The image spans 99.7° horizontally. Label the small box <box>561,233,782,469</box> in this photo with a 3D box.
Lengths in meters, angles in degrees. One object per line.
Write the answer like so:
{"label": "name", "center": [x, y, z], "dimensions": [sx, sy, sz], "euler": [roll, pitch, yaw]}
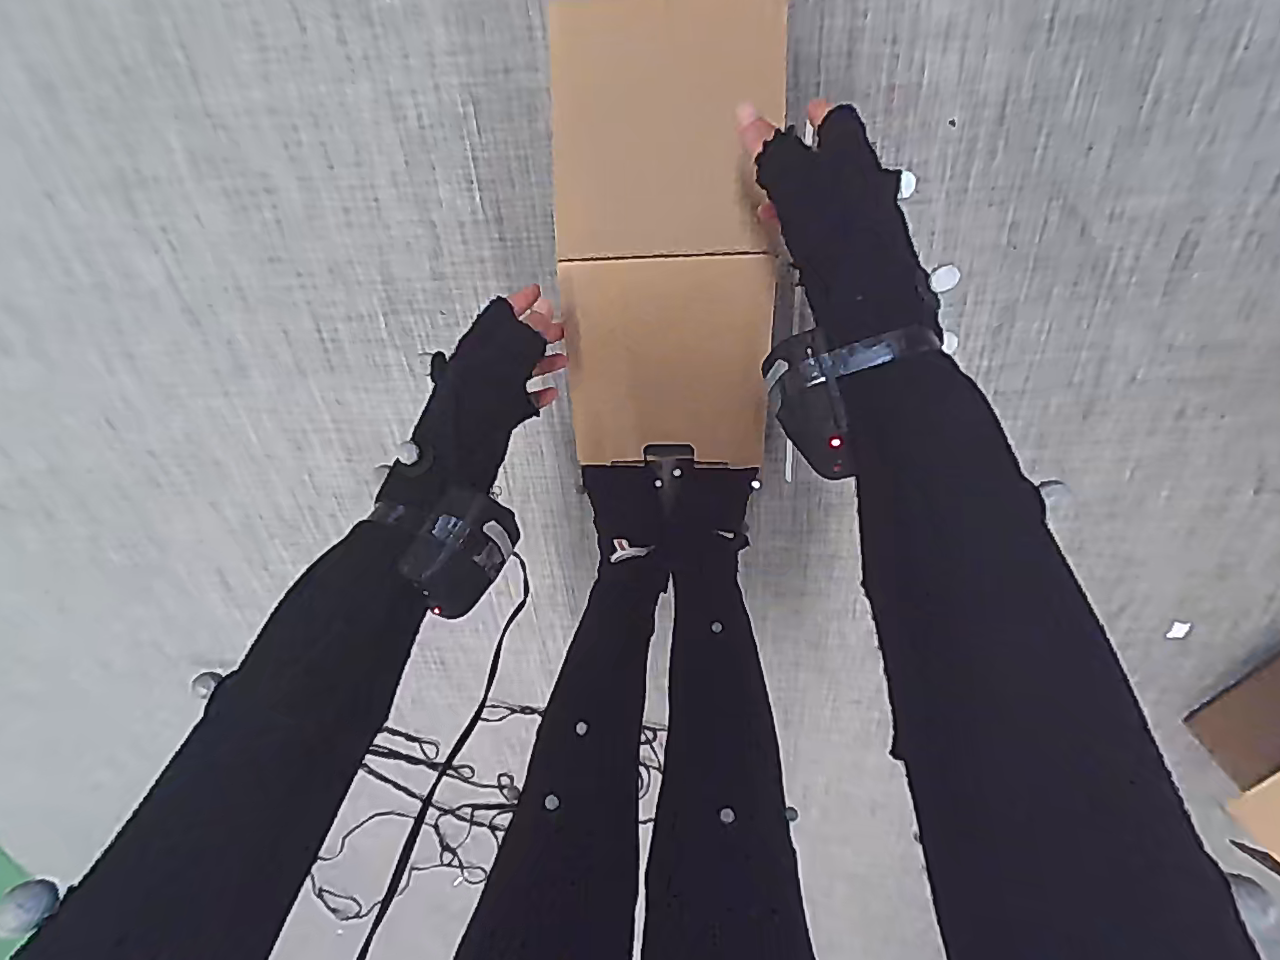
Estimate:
{"label": "small box", "center": [0.034, -0.127, 0.502], "dimensions": [0.168, 0.176, 0.179], "euler": [2, 118, 7]}
